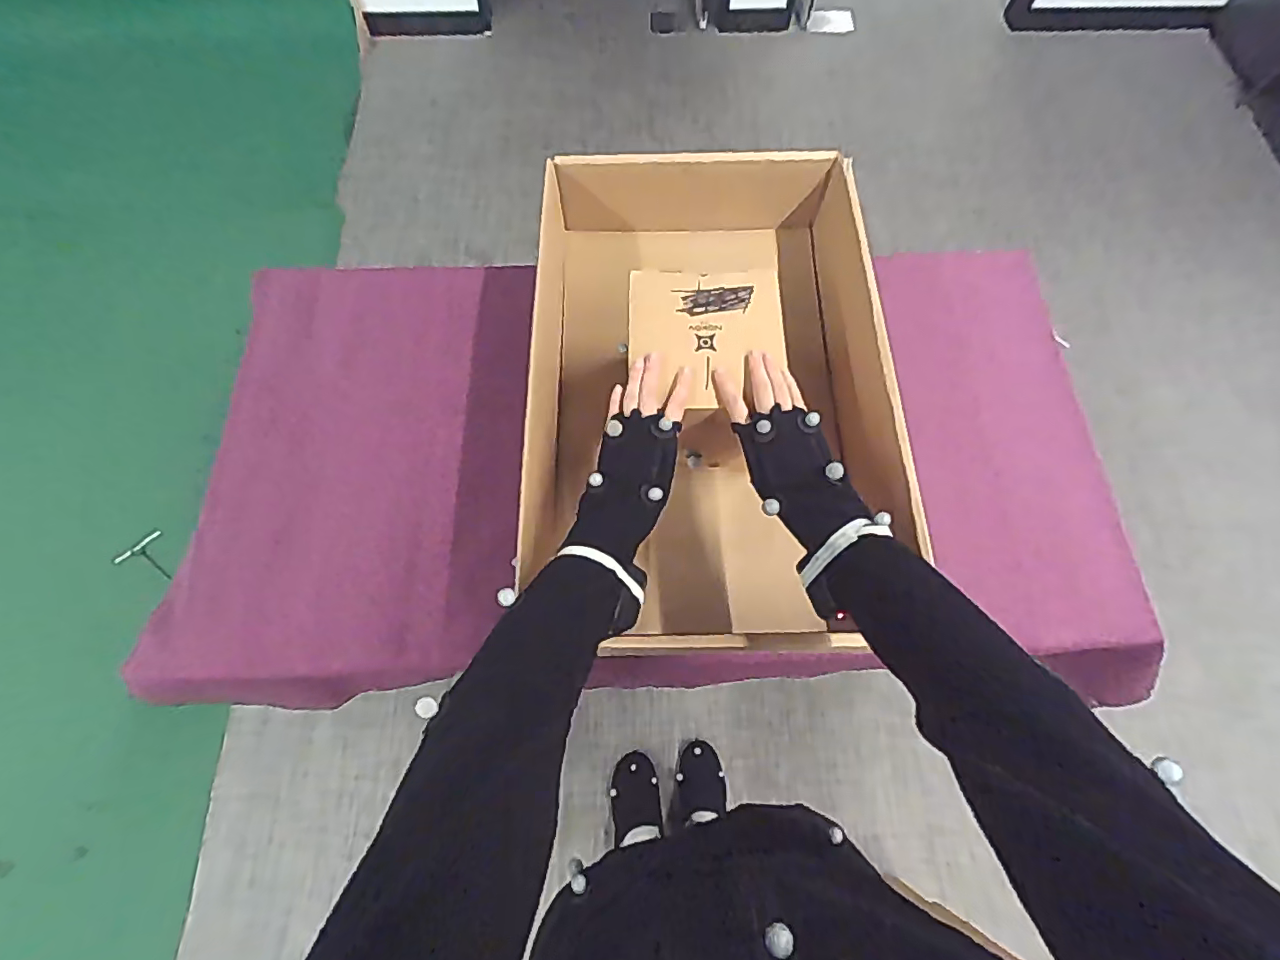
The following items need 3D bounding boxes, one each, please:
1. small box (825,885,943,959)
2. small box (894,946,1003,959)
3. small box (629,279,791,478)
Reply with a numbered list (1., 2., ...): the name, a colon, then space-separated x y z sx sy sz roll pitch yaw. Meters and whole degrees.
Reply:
1. small box: 0.487 0.942 1.079 0.179 0.176 0.168 -6 69 -3
2. small box: 0.490 0.808 0.778 0.168 0.176 0.179 0 68 0
3. small box: 0.071 -0.114 0.646 0.168 0.176 0.179 0 70 1
